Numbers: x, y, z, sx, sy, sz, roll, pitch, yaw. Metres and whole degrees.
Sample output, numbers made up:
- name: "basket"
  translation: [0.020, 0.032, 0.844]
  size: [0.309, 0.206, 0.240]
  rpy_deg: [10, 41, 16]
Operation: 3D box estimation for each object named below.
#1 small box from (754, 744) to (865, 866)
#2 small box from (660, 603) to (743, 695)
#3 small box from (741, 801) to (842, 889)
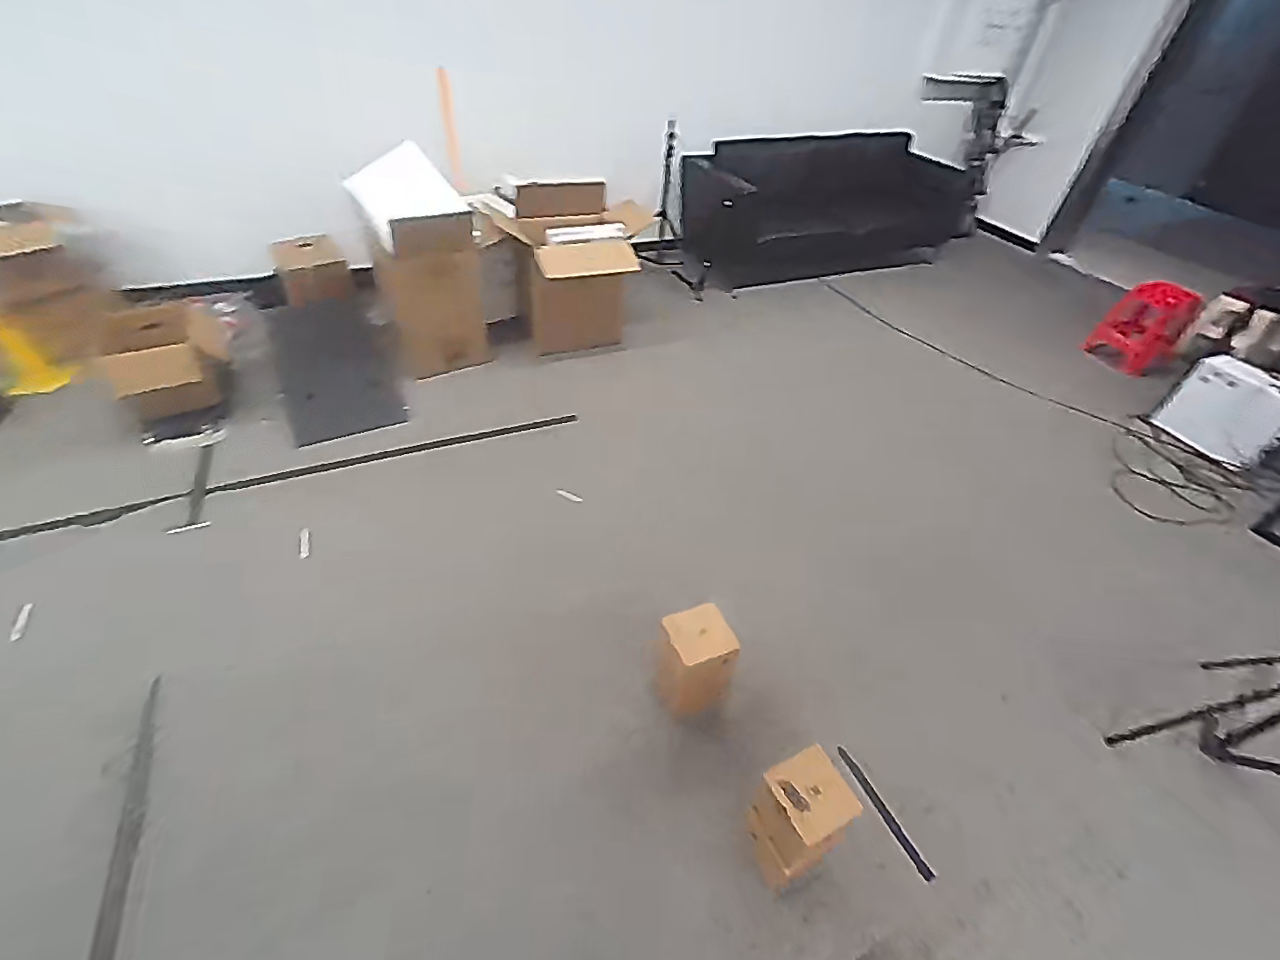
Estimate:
- name: "small box"
  translation: [0.387, 0.768, 1.276]
  size: [0.179, 0.176, 0.168]
  rpy_deg: [-15, 46, -23]
- name: "small box"
  translation: [0.170, 0.488, 1.560]
  size: [0.179, 0.176, 0.168]
  rpy_deg: [-13, 44, -18]
- name: "small box"
  translation: [0.373, 0.898, 1.377]
  size: [0.179, 0.176, 0.168]
  rpy_deg: [-15, 46, -23]
